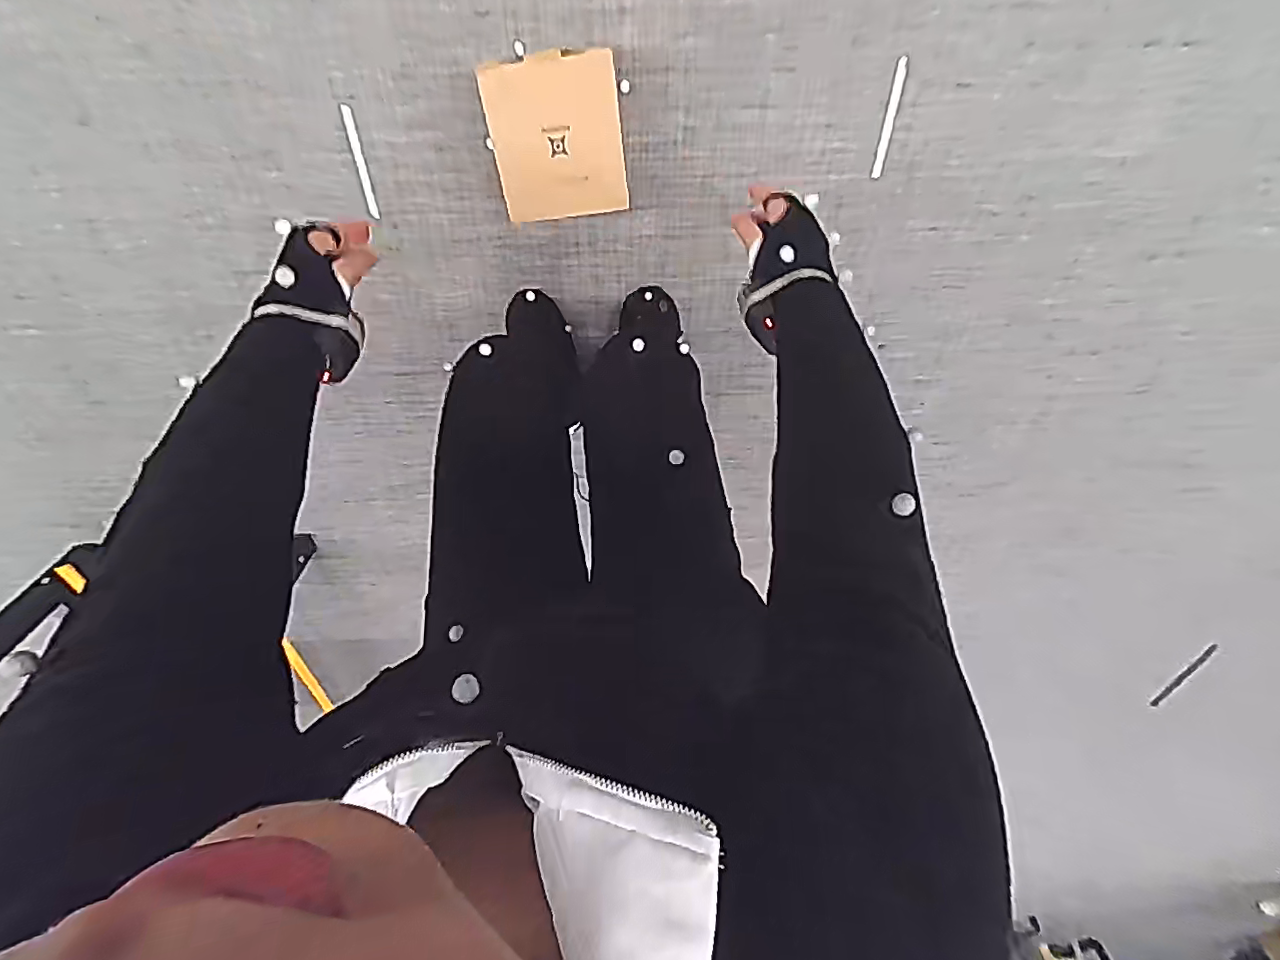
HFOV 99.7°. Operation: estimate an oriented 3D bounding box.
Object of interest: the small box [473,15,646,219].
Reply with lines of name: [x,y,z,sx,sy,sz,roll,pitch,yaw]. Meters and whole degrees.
small box: [-0.085,-0.442,0.662,0.168,0.176,0.179,-6,130,3]
